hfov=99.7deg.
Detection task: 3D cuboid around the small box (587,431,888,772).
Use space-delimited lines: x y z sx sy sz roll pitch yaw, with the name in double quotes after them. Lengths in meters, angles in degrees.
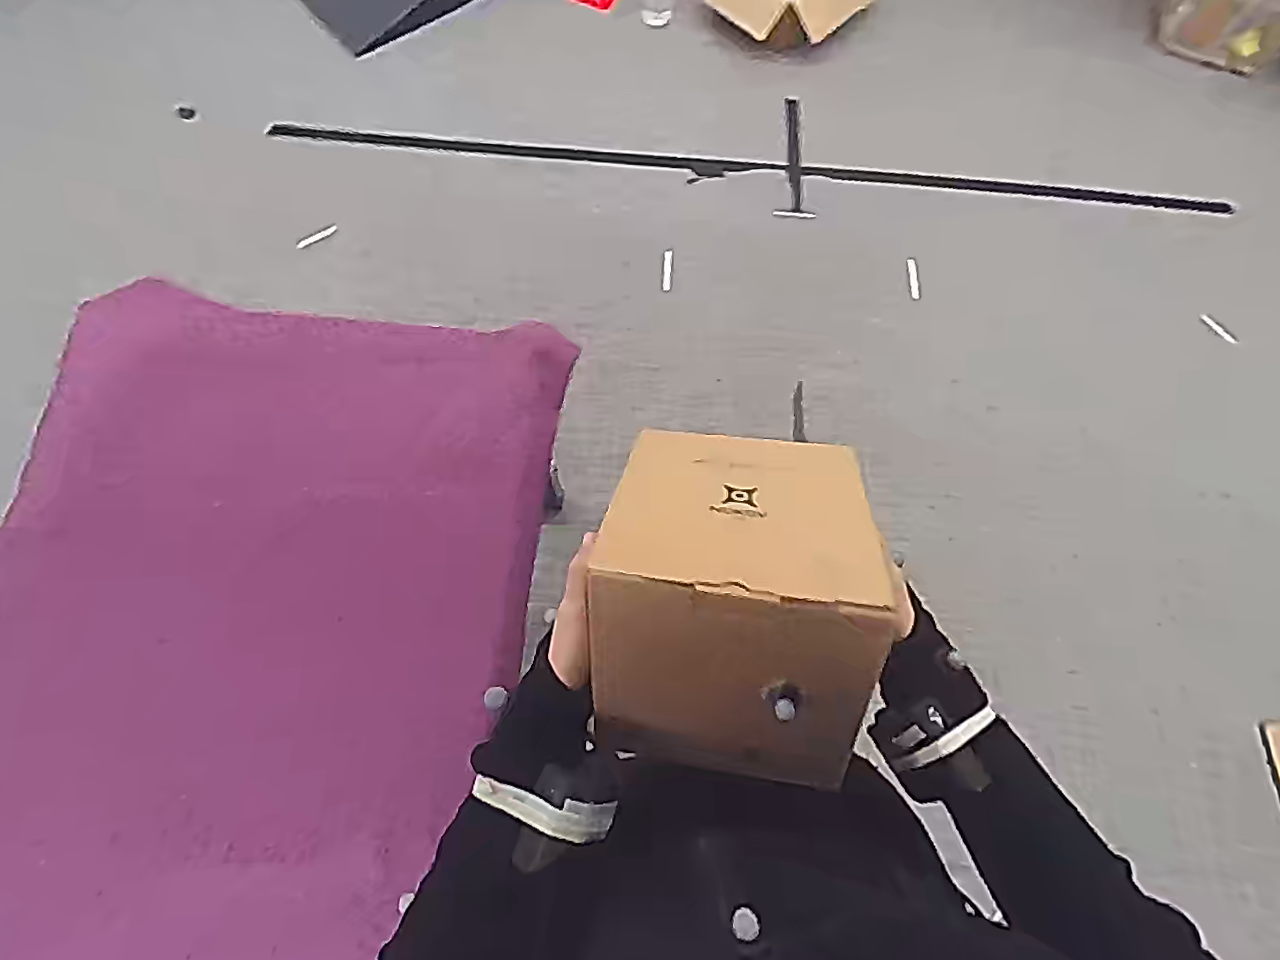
0.067 0.079 0.400 0.168 0.176 0.179 6 30 10 "small box"
